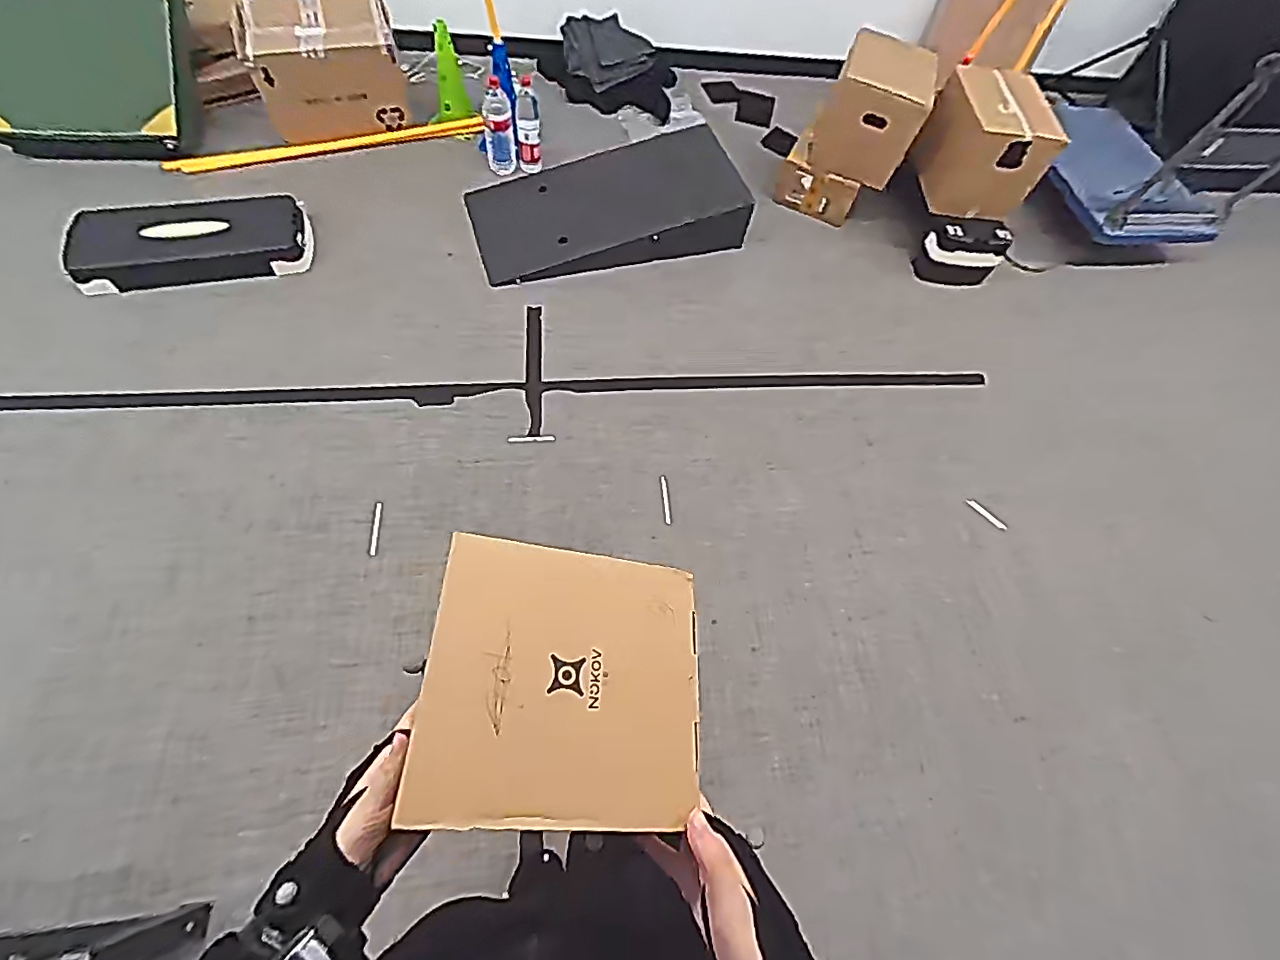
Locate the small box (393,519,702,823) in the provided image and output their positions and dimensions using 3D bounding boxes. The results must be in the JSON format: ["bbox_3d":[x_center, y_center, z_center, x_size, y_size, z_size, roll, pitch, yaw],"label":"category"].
[{"bbox_3d":[-0.069,0.149,0.400,0.179,0.176,0.168,13,58,-17],"label":"small box"}]
